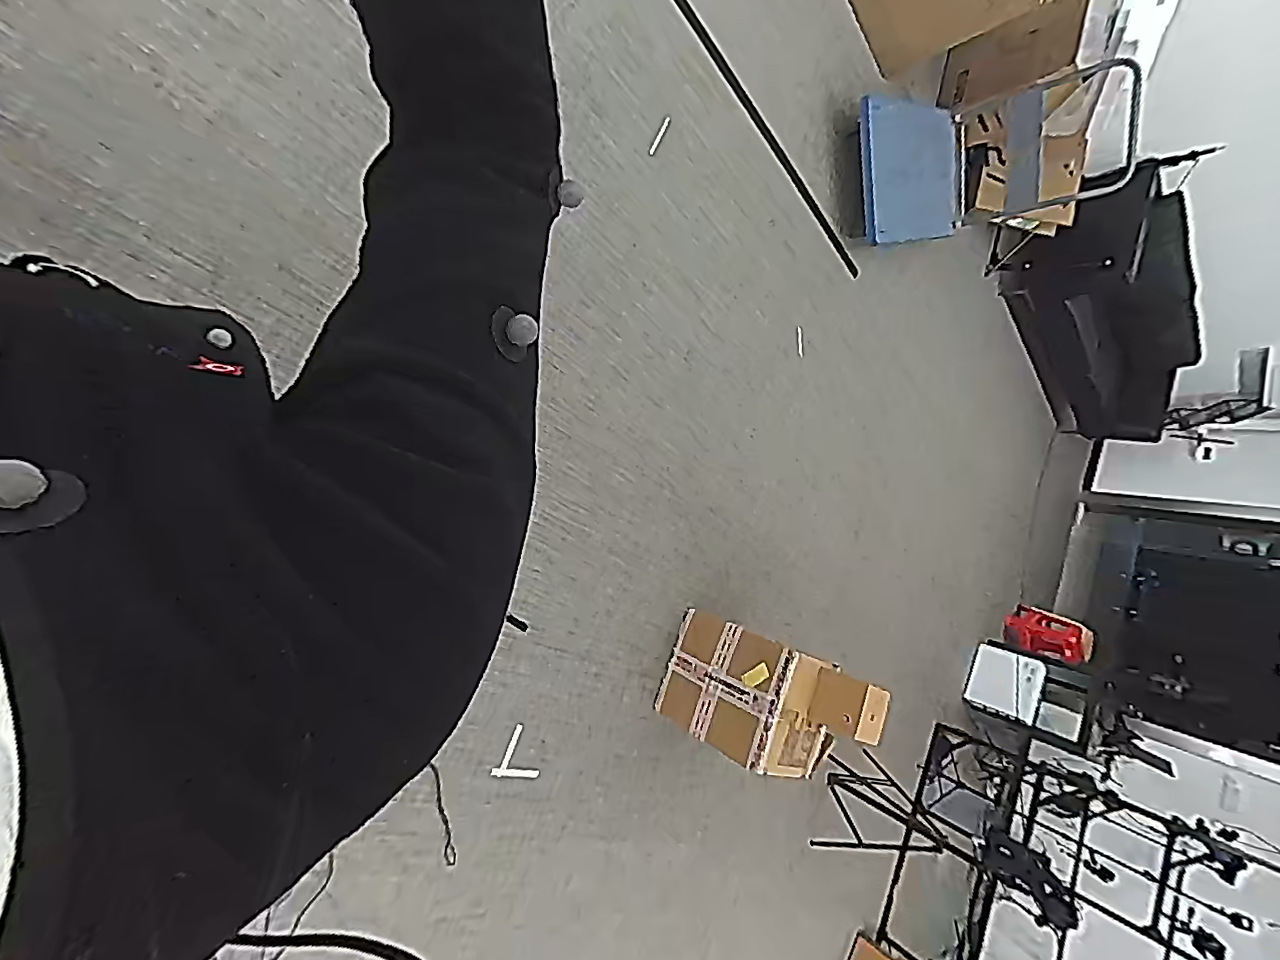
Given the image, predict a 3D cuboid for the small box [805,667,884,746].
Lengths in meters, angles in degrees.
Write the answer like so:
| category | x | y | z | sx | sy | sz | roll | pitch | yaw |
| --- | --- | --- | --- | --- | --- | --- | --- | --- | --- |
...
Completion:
| category | x | y | z | sx | sy | sz | roll | pitch | yaw |
| --- | --- | --- | --- | --- | --- | --- | --- | --- | --- |
| small box | 0.665 | 0.740 | 1.773 | 0.168 | 0.176 | 0.179 | 32 | 73 | -37 |
